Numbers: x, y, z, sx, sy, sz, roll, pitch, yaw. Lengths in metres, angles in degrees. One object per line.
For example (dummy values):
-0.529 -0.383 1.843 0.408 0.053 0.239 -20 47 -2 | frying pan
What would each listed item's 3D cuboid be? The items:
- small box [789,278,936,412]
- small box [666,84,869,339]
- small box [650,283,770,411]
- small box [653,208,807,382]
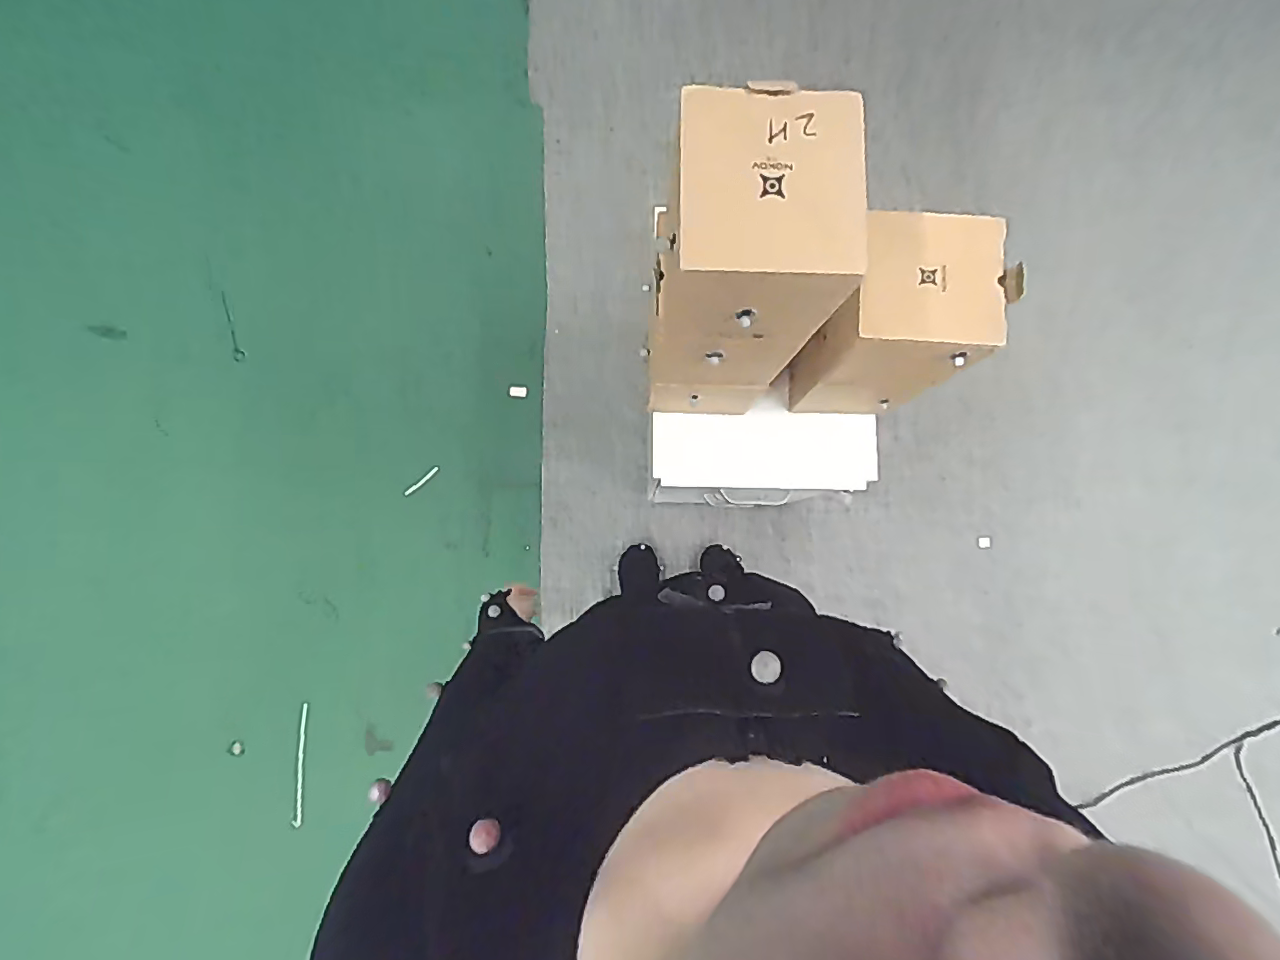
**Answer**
0.352 -0.212 0.881 0.179 0.176 0.168 1 83 2 | small box
0.117 -0.255 0.552 0.168 0.176 0.179 1 84 -2 | small box
0.106 -0.210 0.878 0.179 0.176 0.168 1 84 -1 | small box
0.108 -0.233 0.715 0.179 0.176 0.168 1 84 -2 | small box
